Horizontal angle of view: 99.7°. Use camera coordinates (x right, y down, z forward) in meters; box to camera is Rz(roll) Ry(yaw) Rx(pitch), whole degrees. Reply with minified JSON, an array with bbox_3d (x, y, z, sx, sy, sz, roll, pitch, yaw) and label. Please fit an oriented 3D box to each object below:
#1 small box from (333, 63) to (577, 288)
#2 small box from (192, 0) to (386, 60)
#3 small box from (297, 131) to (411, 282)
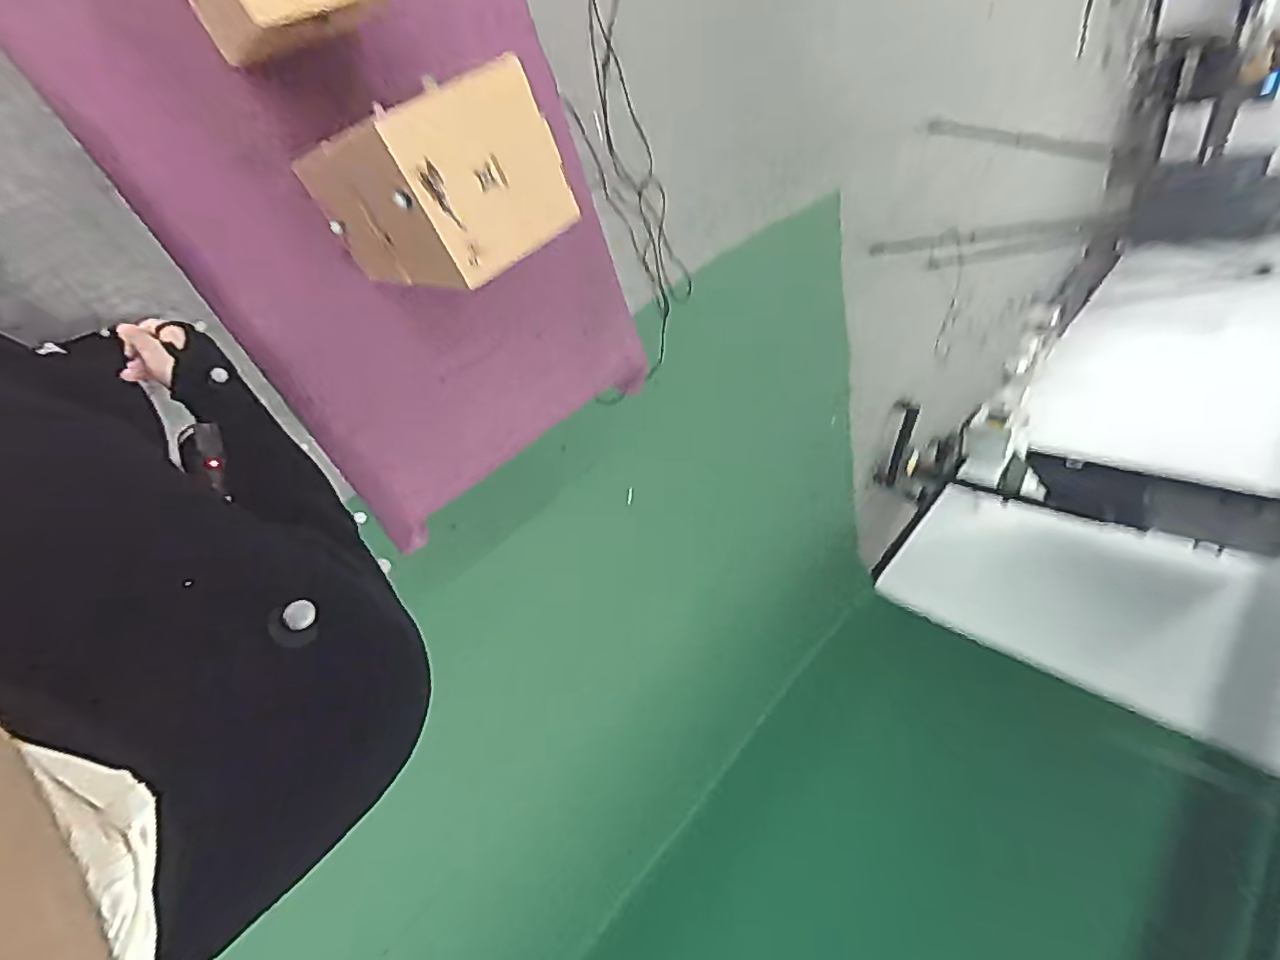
[{"bbox_3d":[-0.212,-0.343,0.626,0.179,0.176,0.168,-44,132,-23],"label":"small box"},{"bbox_3d":[-0.401,-0.589,0.580,0.179,0.176,0.168,-42,132,-23],"label":"small box"},{"bbox_3d":[-0.323,-0.390,0.737,0.179,0.176,0.168,-43,131,-23],"label":"small box"}]
